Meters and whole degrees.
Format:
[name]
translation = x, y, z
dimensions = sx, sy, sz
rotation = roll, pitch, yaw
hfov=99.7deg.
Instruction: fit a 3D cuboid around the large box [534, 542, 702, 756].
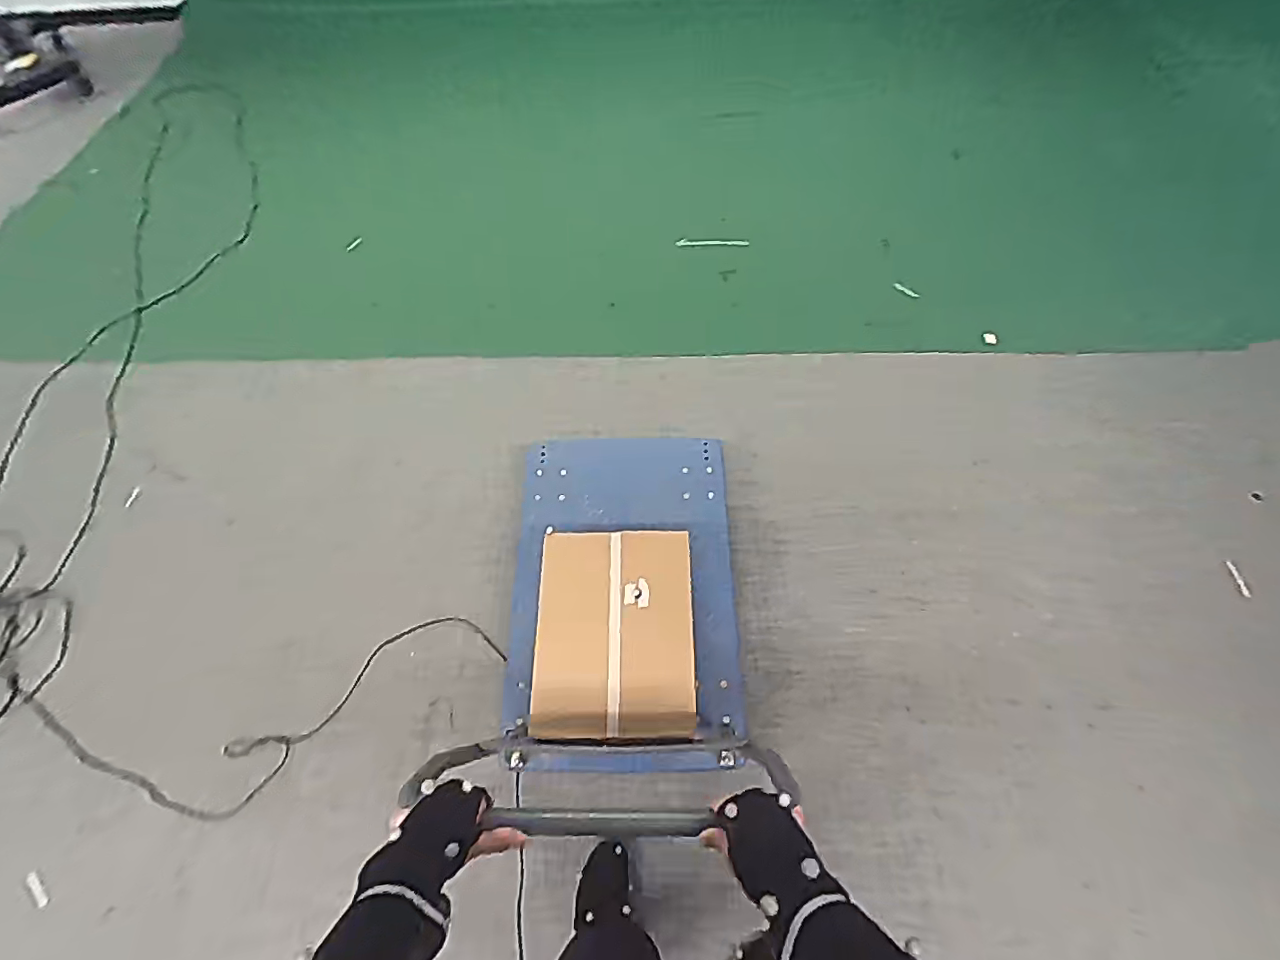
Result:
[large box]
translation = -0.039, 0.385, 1.204
dimensions = 0.320, 0.320, 0.408
rotation = -2, 62, 1
